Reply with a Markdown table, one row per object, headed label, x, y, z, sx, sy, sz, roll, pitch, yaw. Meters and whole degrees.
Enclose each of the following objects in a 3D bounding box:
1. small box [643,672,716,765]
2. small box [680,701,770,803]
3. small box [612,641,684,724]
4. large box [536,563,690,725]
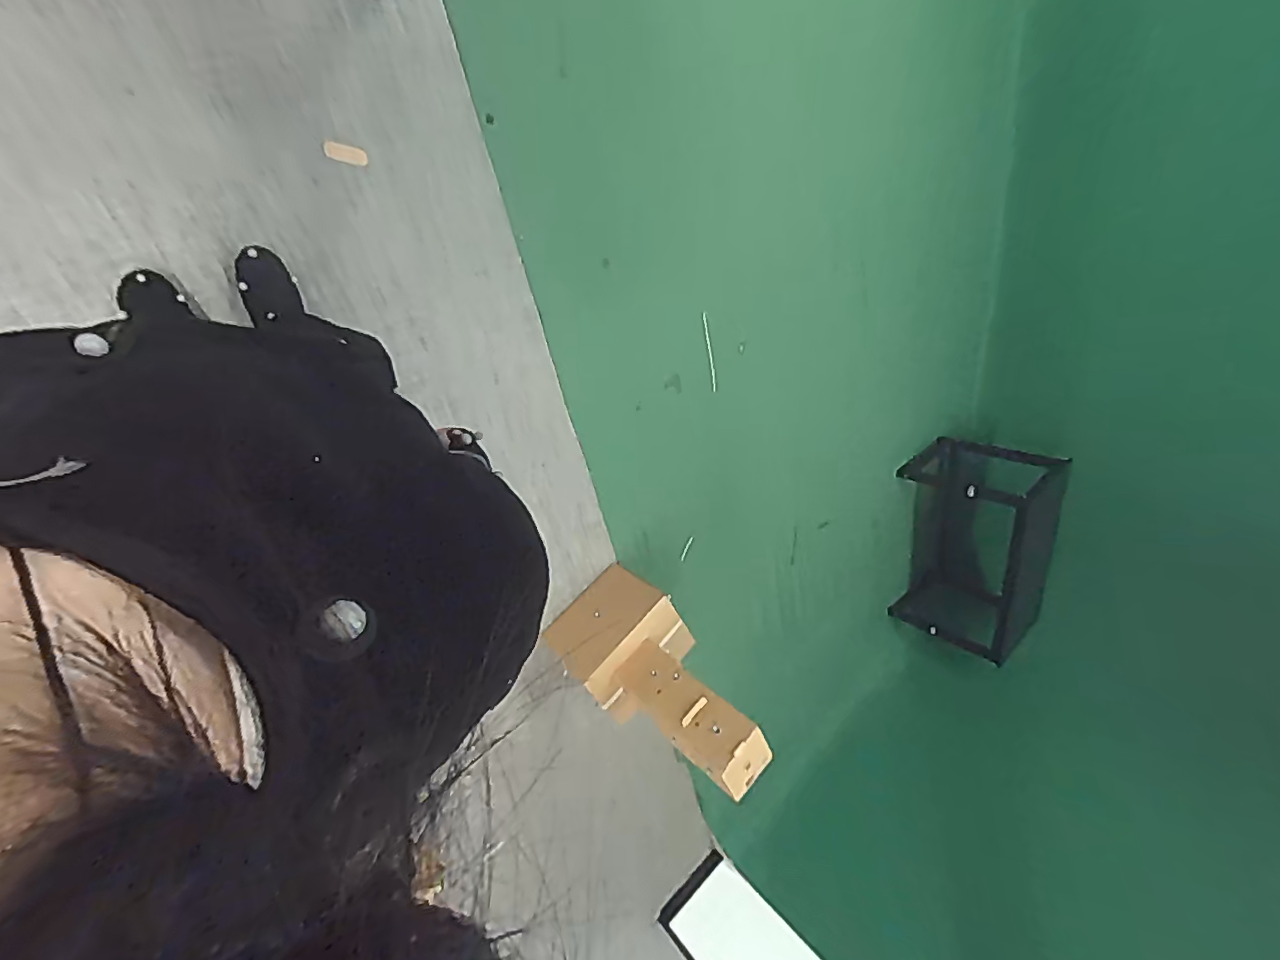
| label | x | y | z | sx | sy | sz | roll | pitch | yaw |
| --- | --- | --- | --- | --- | --- | --- | --- | --- | --- |
| small box | 0.135 | 0.724 | 1.667 | 0.168 | 0.176 | 0.179 | -39 | 126 | -23 |
| small box | 0.240 | 0.767 | 1.548 | 0.168 | 0.176 | 0.179 | -40 | 125 | -22 |
| small box | 0.039 | 0.671 | 1.789 | 0.179 | 0.176 | 0.168 | -41 | 126 | -21 |
| large box | -0.094 | 0.587 | 1.978 | 0.408 | 0.320 | 0.320 | -45 | 130 | -21 |
